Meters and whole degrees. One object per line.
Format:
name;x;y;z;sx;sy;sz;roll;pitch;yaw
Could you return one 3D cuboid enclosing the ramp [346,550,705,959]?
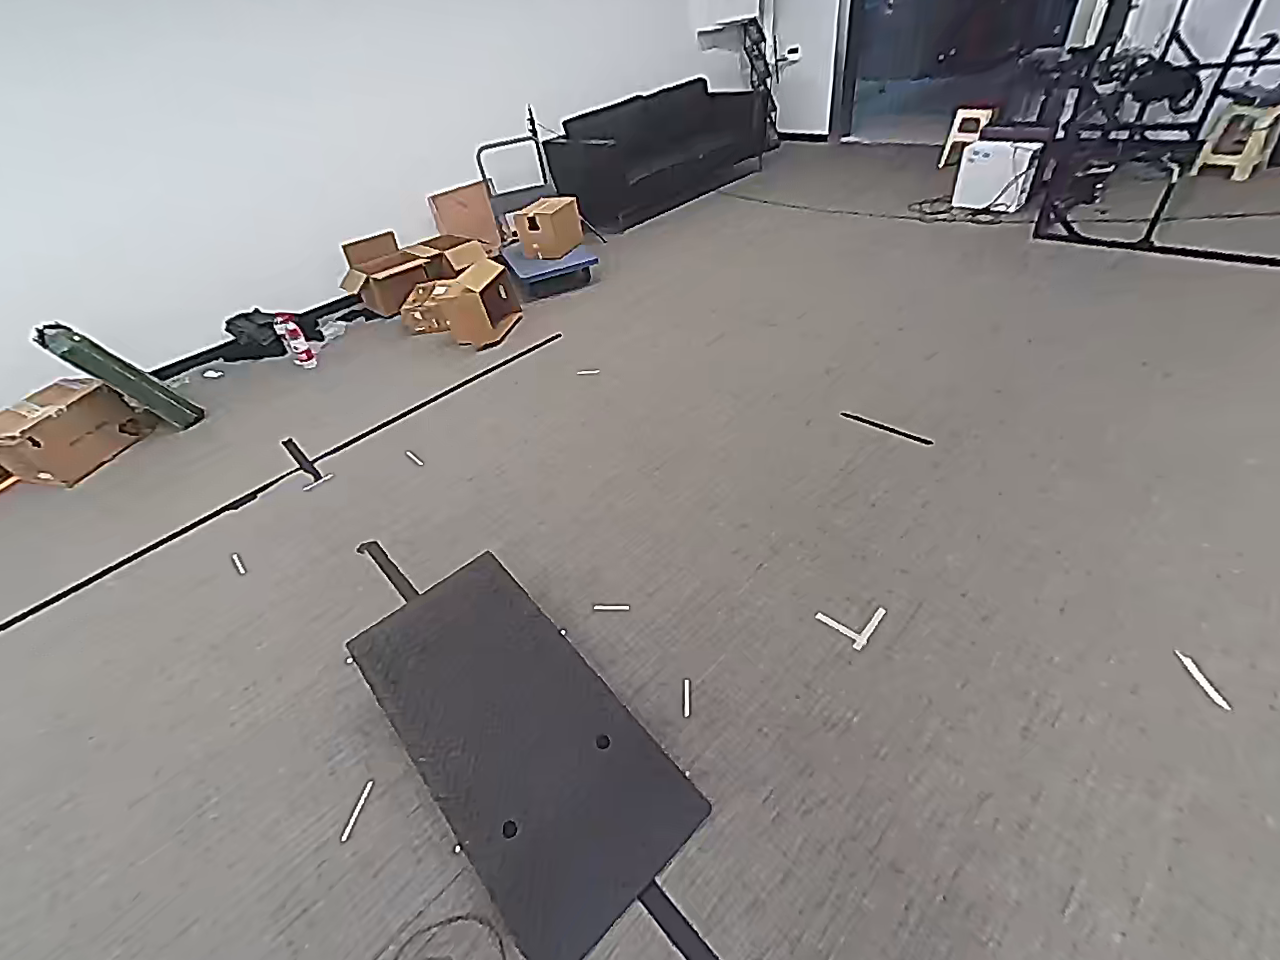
ramp;-0.343;0.631;1.445;0.509;0.206;0.991;-36;48;-28
